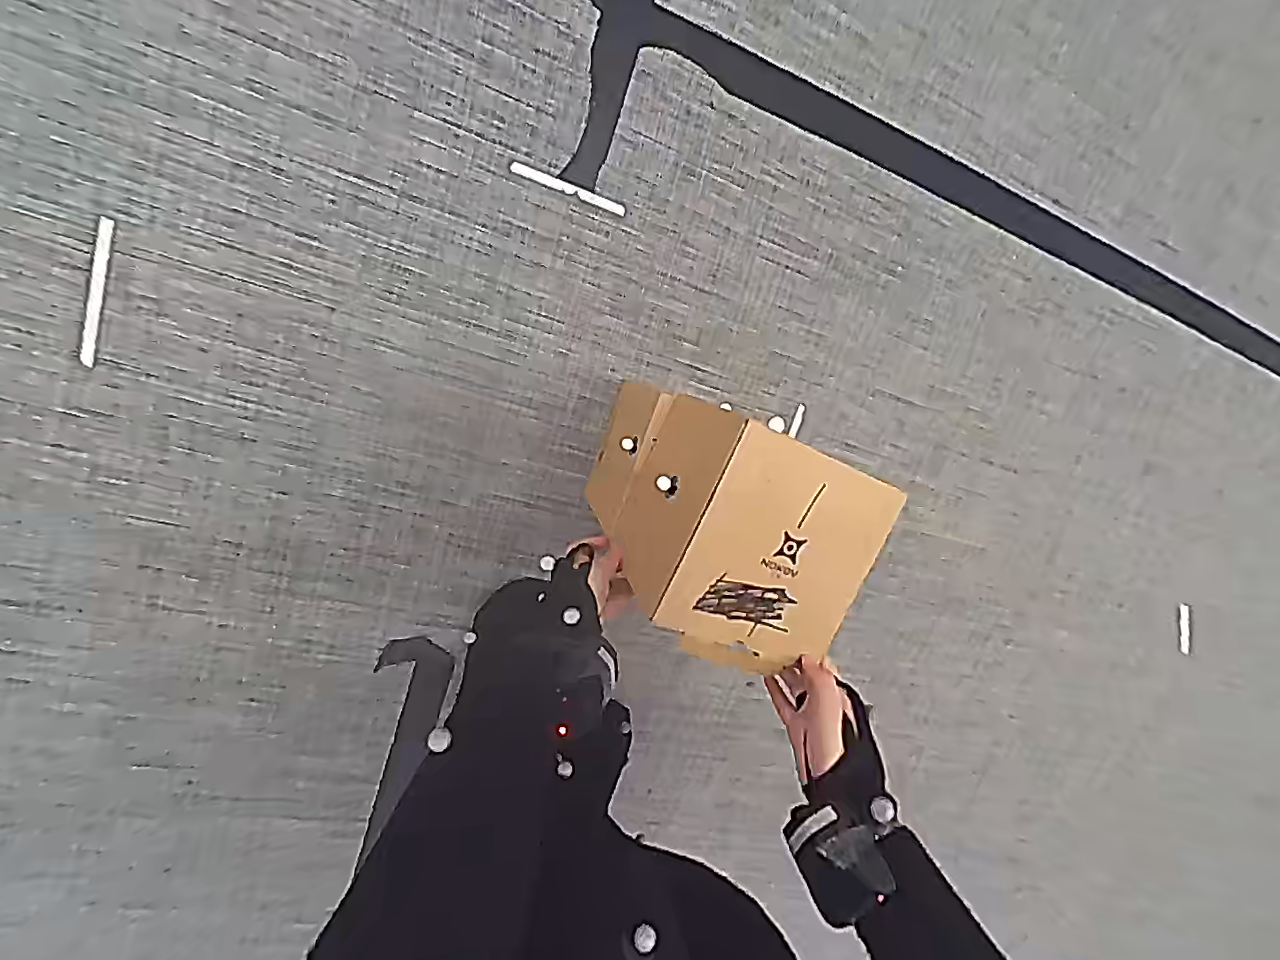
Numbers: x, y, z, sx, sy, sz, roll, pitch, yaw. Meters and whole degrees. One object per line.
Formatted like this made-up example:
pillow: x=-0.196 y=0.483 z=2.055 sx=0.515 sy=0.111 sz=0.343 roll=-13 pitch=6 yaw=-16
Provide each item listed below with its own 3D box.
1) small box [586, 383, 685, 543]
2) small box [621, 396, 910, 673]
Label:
small box: x=0.052 y=-0.010 z=0.650 sx=0.179 sy=0.176 sz=0.168 roll=17 pitch=99 yaw=-19
small box: x=0.095 y=0.039 z=0.498 sx=0.168 sy=0.176 sz=0.179 roll=22 pitch=98 yaw=-20
